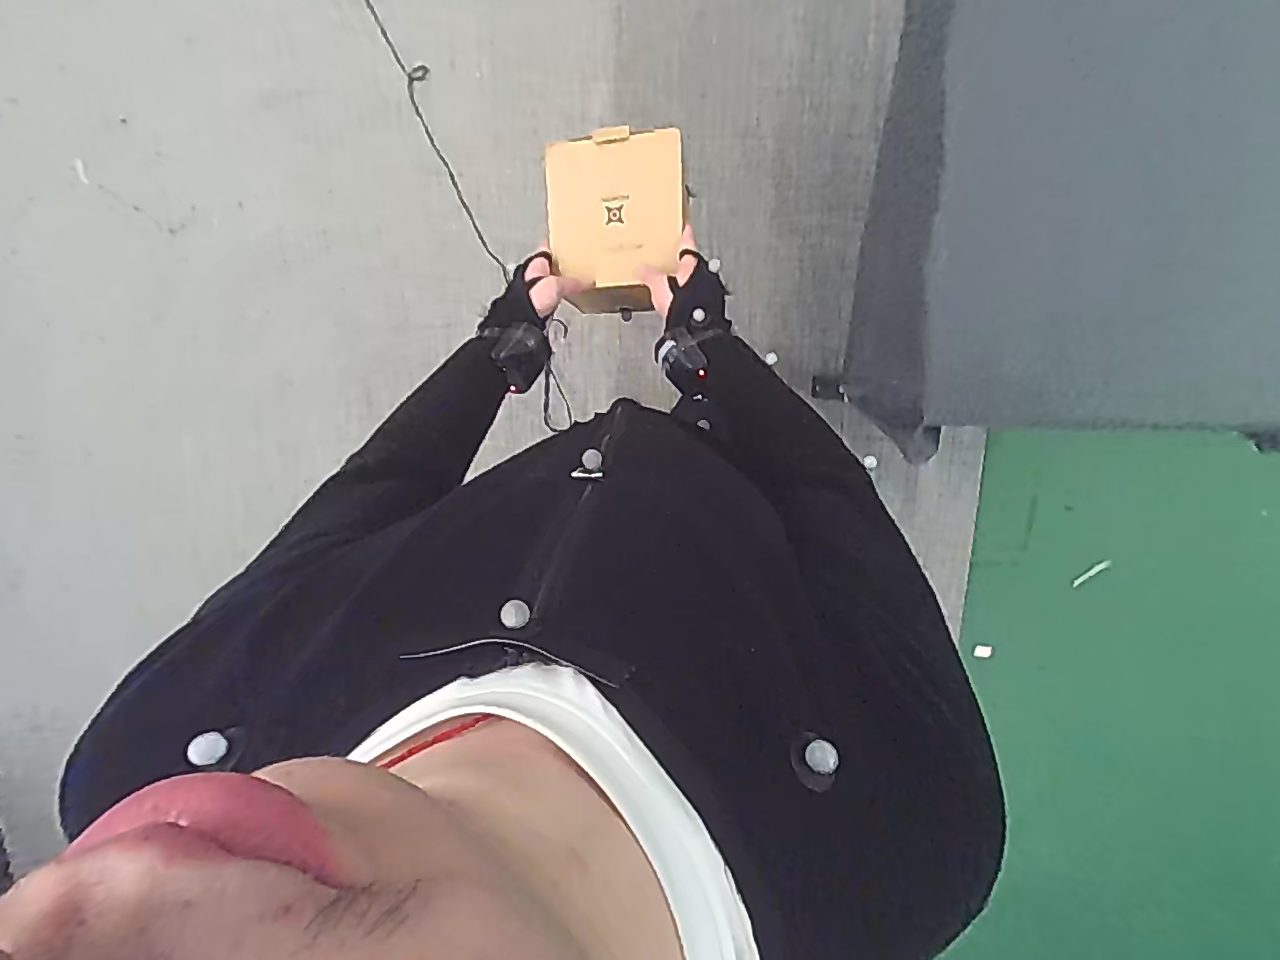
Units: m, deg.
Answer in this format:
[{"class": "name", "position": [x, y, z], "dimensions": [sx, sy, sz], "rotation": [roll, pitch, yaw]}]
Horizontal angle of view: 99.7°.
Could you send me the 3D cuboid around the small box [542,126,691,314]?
[{"class": "small box", "position": [-0.023, -0.325, 0.710], "dimensions": [0.168, 0.176, 0.179], "rotation": [1, 97, 10]}]
